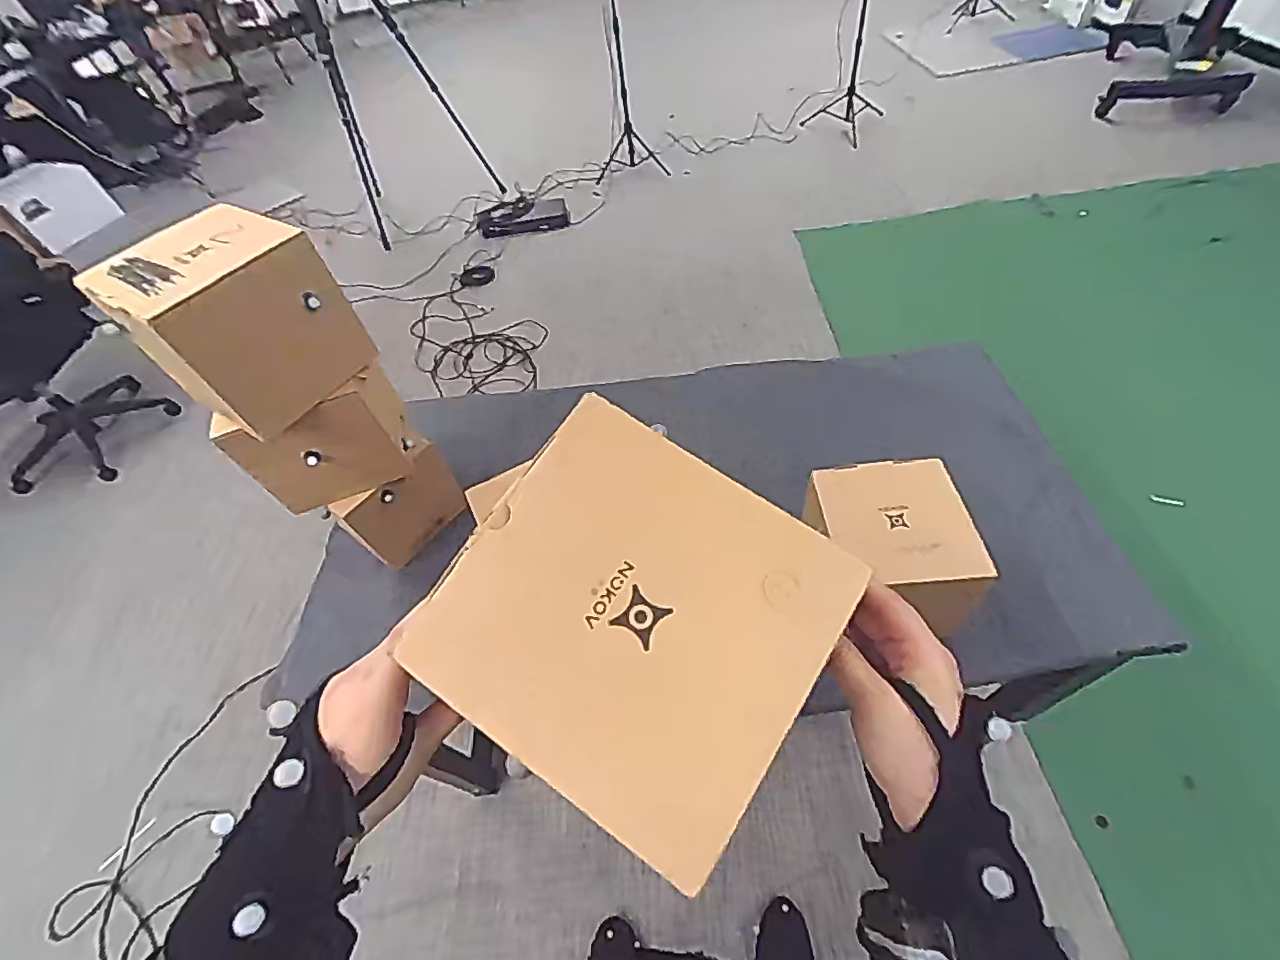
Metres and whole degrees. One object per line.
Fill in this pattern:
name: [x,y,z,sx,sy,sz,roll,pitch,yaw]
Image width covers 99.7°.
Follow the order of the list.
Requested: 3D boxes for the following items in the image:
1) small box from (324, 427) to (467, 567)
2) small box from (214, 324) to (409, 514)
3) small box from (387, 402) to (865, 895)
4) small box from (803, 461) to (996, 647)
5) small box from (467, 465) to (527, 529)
small box: [-0.423,0.014,0.892,0.179,0.176,0.168,28,62,26]
small box: [-0.443,-0.082,0.759,0.179,0.176,0.168,-21,53,-7]
small box: [-0.002,0.088,0.335,0.179,0.176,0.168,32,77,13]
small box: [0.316,0.099,0.708,0.168,0.176,0.179,-6,51,5]
small box: [-0.123,0.091,0.784,0.168,0.176,0.179,-26,52,-12]
